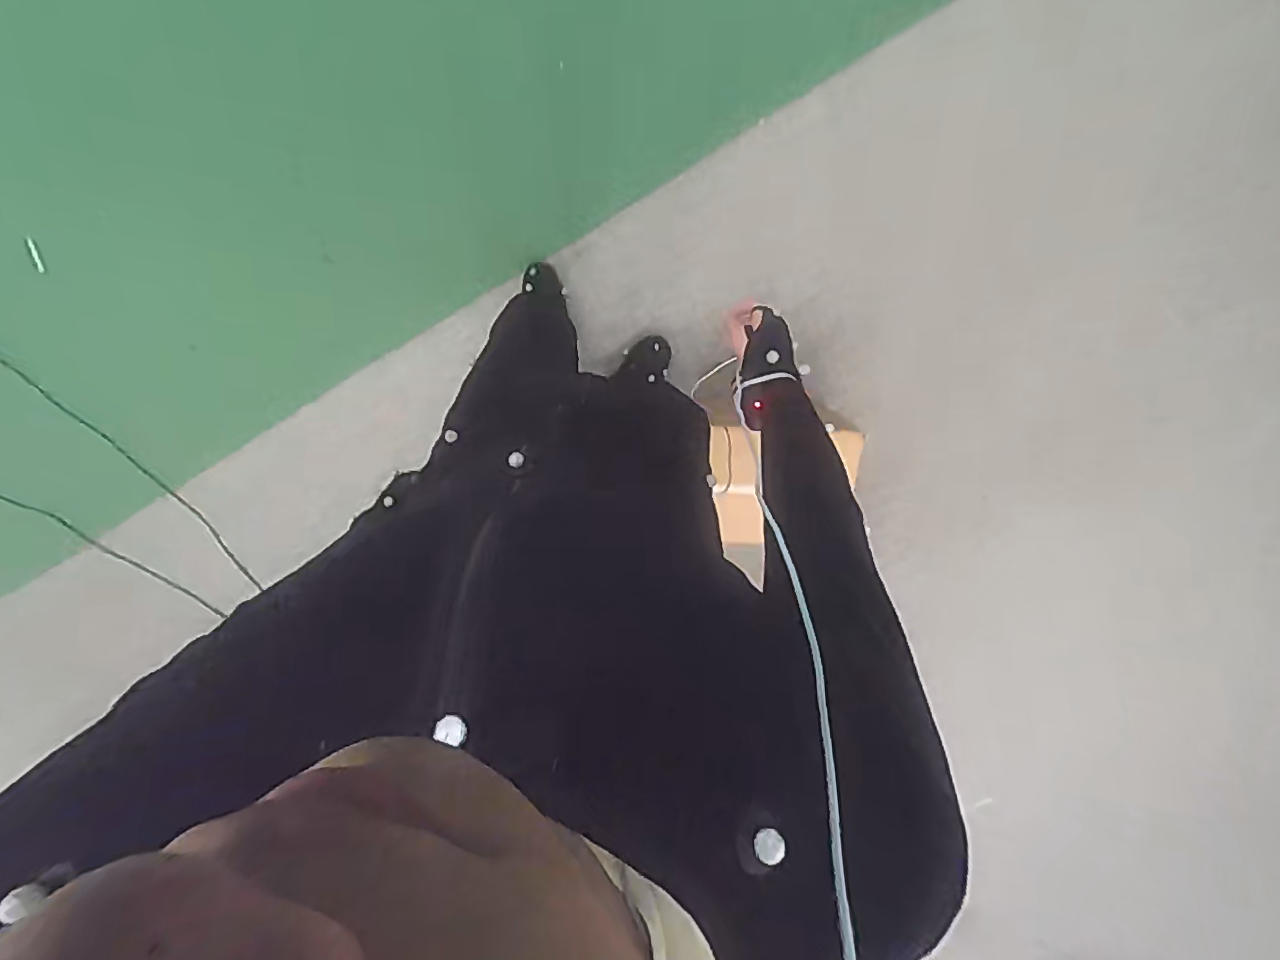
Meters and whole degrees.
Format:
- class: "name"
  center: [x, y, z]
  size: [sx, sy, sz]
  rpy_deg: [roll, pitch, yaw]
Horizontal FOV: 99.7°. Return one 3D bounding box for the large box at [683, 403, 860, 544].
- class: "large box"
  center: [0.330, -0.032, 1.491]
  size: [0.408, 0.320, 0.320]
  rpy_deg: [2, 110, 0]
